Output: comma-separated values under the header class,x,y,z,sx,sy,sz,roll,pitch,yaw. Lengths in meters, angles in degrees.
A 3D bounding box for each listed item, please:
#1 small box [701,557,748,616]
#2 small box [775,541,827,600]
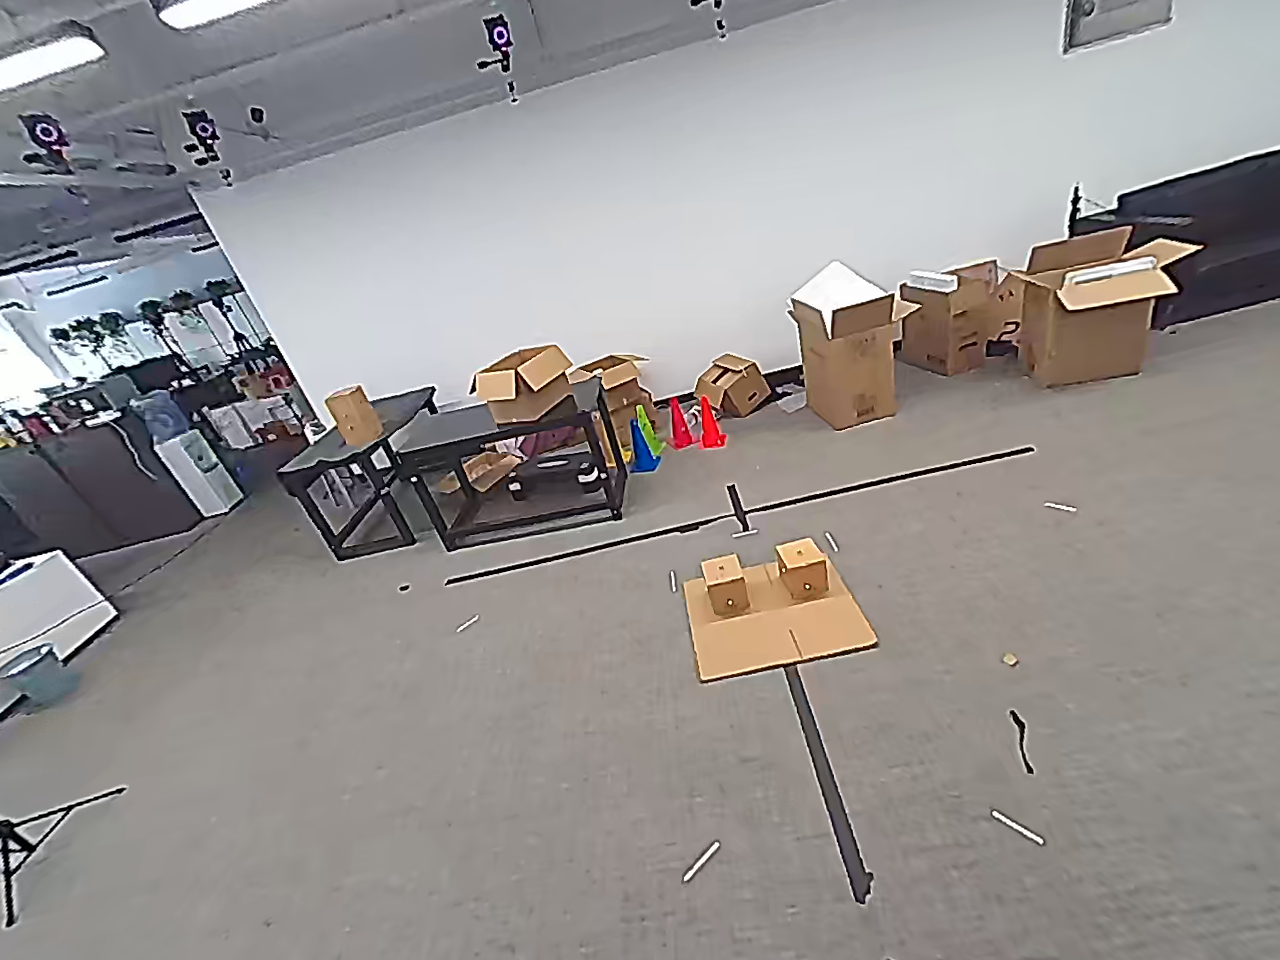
class,x,y,z,sx,sy,sz,roll,pitch,yaw
small box,0.379,0.479,2.423,0.168,0.176,0.179,-15,27,4
small box,0.714,0.404,2.399,0.168,0.176,0.179,-16,27,1
